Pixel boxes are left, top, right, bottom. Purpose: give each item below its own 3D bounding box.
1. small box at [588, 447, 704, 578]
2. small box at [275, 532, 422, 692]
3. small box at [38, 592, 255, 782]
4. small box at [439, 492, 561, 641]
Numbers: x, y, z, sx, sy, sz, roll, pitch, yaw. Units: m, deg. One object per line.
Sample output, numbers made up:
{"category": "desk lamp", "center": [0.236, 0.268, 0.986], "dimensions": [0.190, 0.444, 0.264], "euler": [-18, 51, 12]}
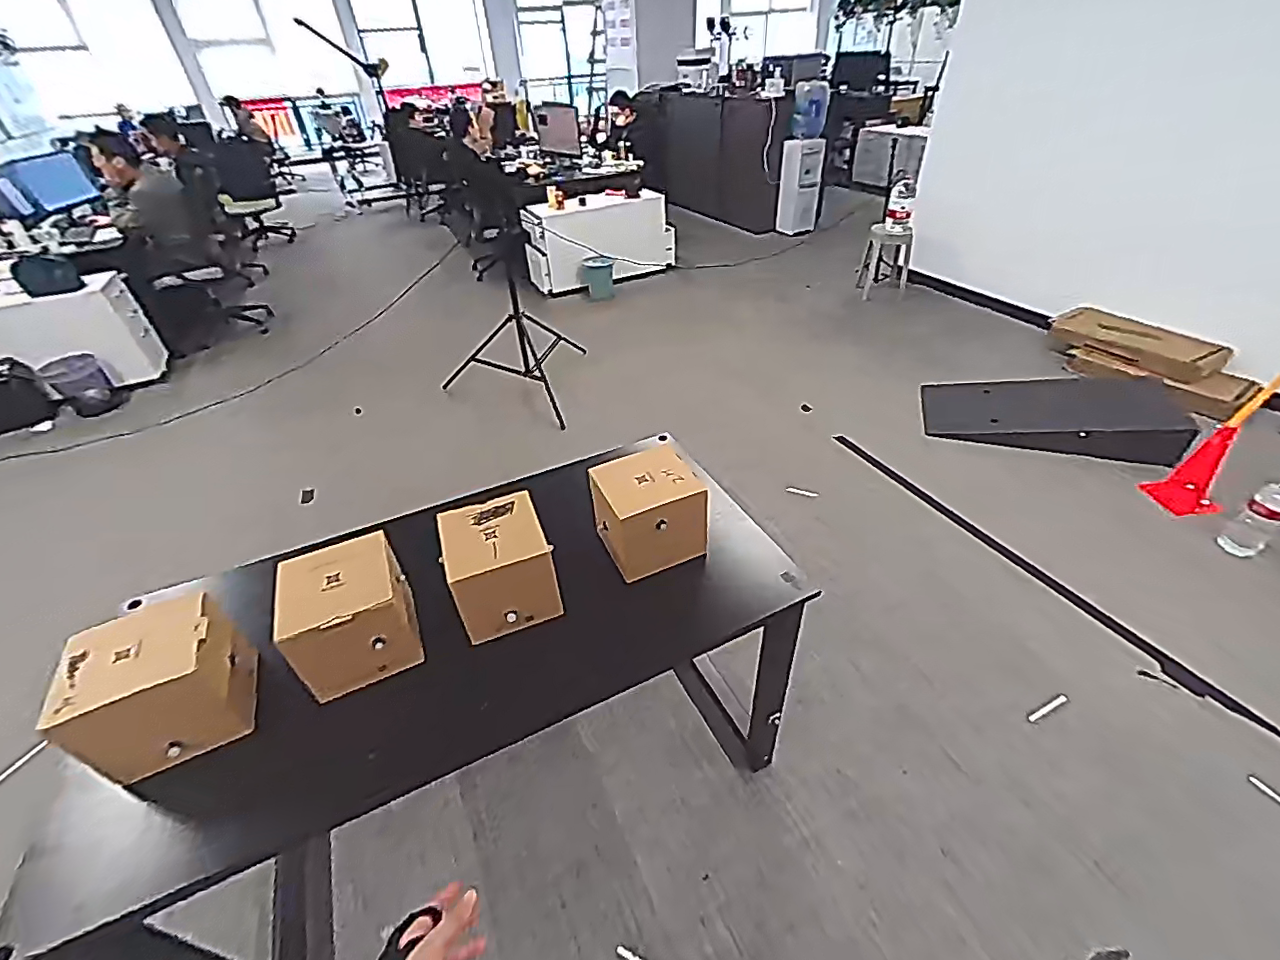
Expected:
{"category": "small box", "center": [0.014, 0.065, 1.060], "dimensions": [0.179, 0.176, 0.168], "euler": [-18, 41, -17]}
{"category": "small box", "center": [-0.479, 0.223, 0.901], "dimensions": [0.168, 0.176, 0.179], "euler": [-19, 40, -20]}
{"category": "small box", "center": [-0.710, 0.306, 0.809], "dimensions": [0.179, 0.176, 0.168], "euler": [-19, 41, -21]}
{"category": "small box", "center": [-0.249, 0.153, 0.970], "dimensions": [0.168, 0.176, 0.179], "euler": [-16, 41, -16]}
